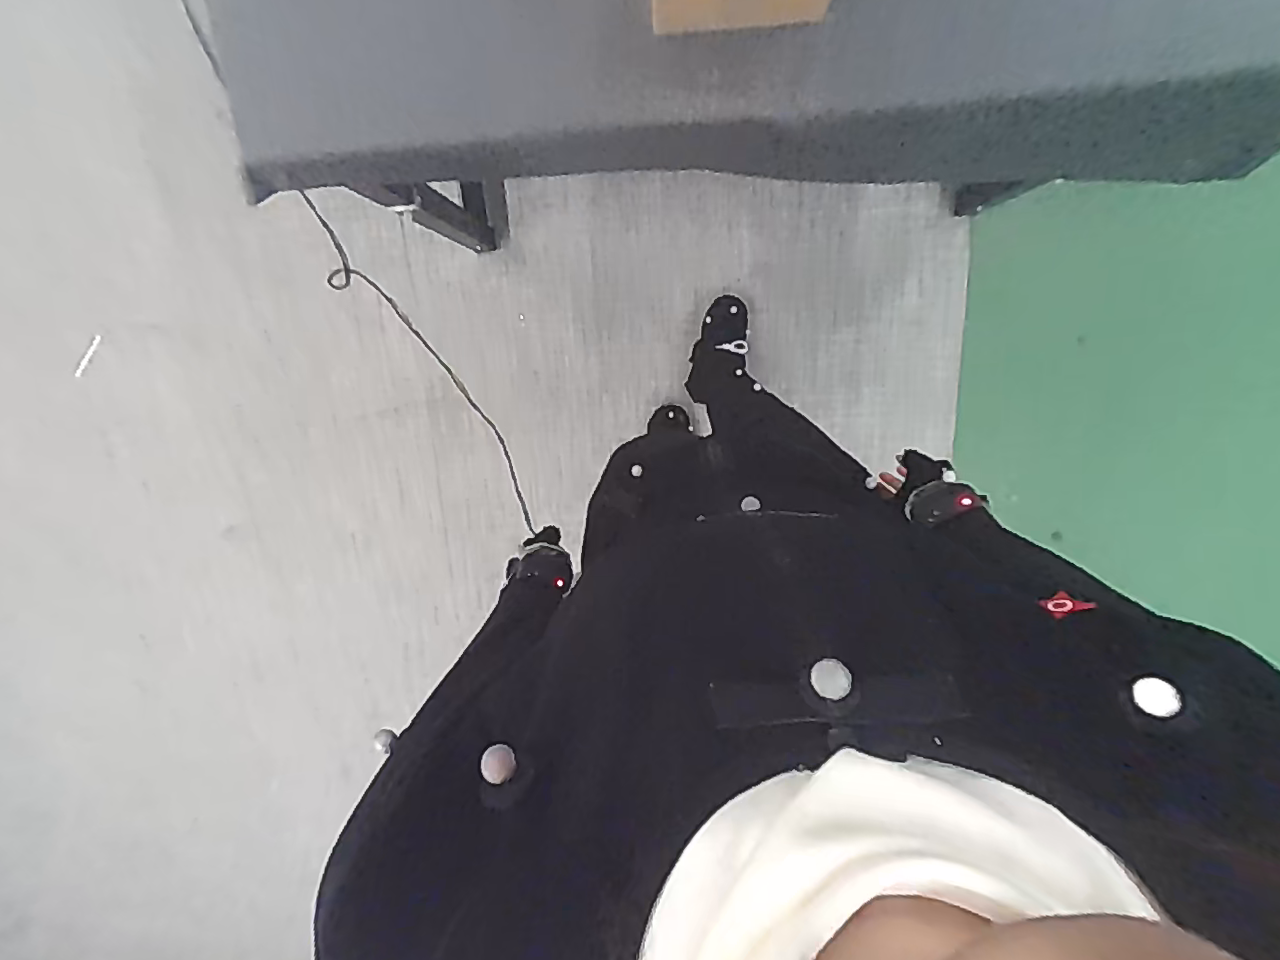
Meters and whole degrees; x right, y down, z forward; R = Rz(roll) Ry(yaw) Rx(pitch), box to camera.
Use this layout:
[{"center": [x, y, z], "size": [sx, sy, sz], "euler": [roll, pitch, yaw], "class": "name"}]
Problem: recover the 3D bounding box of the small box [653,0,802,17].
[{"center": [0.093, -0.540, 0.459], "size": [0.179, 0.176, 0.168], "euler": [-2, 104, 4], "class": "small box"}]
